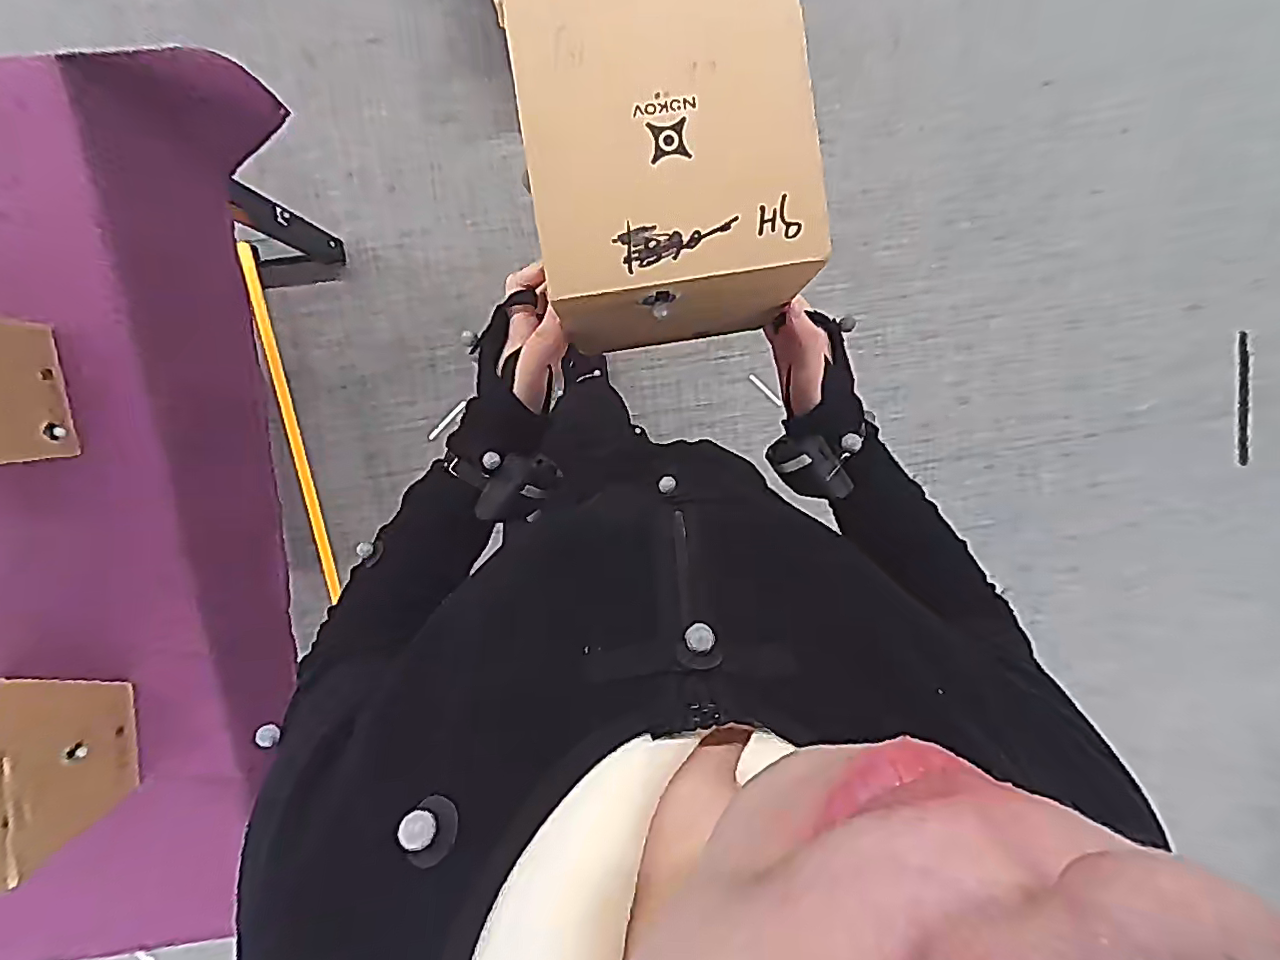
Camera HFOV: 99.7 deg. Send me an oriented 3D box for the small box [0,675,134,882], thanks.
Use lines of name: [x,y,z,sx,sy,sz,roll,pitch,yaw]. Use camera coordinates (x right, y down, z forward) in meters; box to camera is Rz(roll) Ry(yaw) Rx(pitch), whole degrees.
small box: [-0.789,0.363,0.681,0.179,0.176,0.168,3,98,-4]

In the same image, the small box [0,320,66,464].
small box: [-0.811,-0.095,0.604,0.179,0.176,0.168,-5,99,-2]

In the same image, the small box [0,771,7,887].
small box: [-0.781,0.383,0.518,0.168,0.176,0.179,4,98,-5]

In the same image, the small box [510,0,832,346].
small box: [0.016,-0.208,0.381,0.168,0.176,0.179,-8,92,1]
